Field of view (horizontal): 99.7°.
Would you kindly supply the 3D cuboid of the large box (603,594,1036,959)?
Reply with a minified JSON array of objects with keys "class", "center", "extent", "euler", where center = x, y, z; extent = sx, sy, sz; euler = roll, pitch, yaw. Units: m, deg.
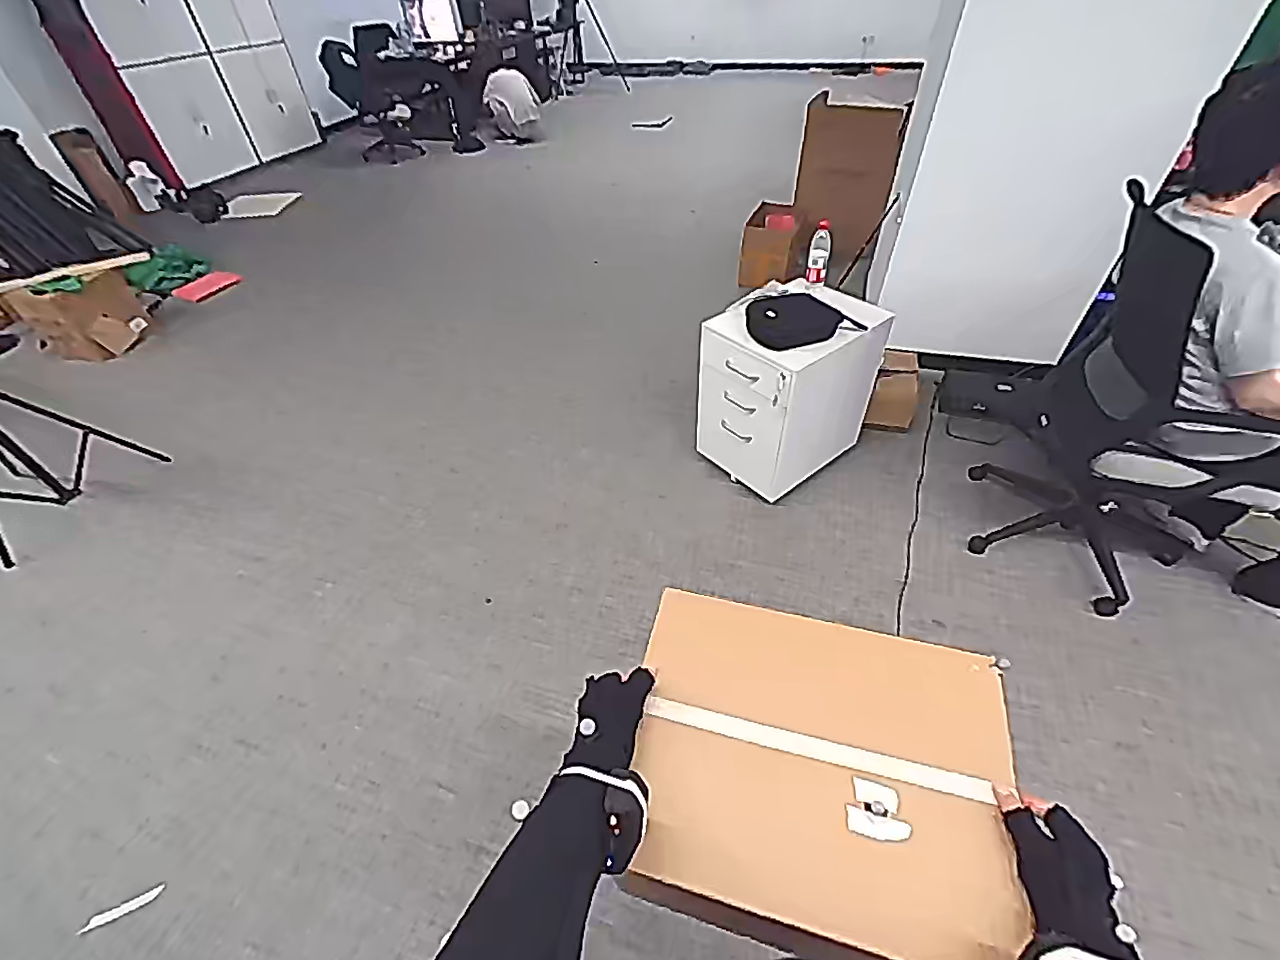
[{"class":"large box","center":[0.198,0.393,0.707],"extent":[0.408,0.320,0.320],"euler":[10,50,14]}]
